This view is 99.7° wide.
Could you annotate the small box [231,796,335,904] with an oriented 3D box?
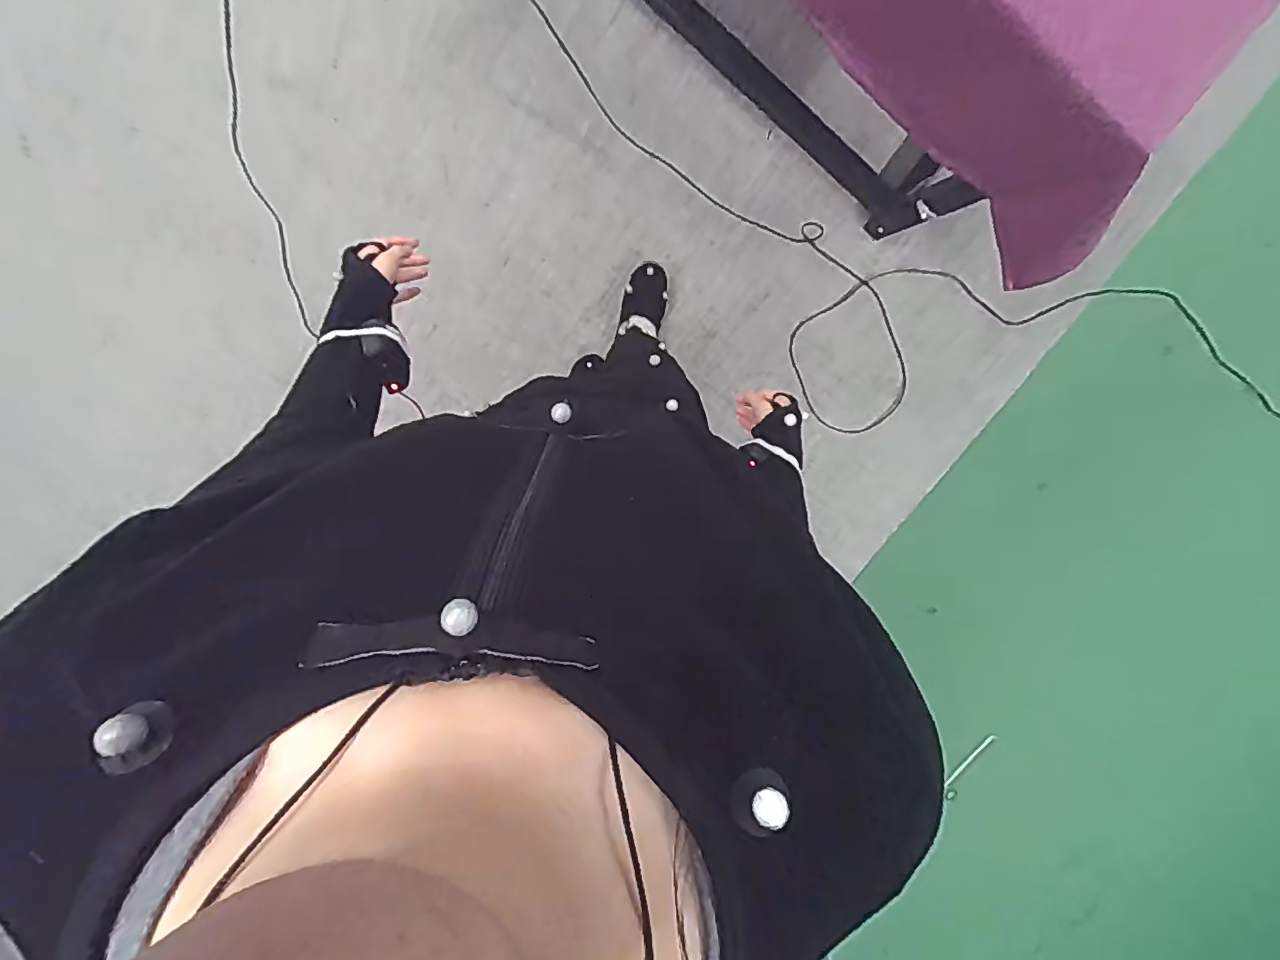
[{"bbox_3d":[-1.057,1.103,1.620,0.168,0.176,0.179,37,99,-13],"label":"small box"}]
